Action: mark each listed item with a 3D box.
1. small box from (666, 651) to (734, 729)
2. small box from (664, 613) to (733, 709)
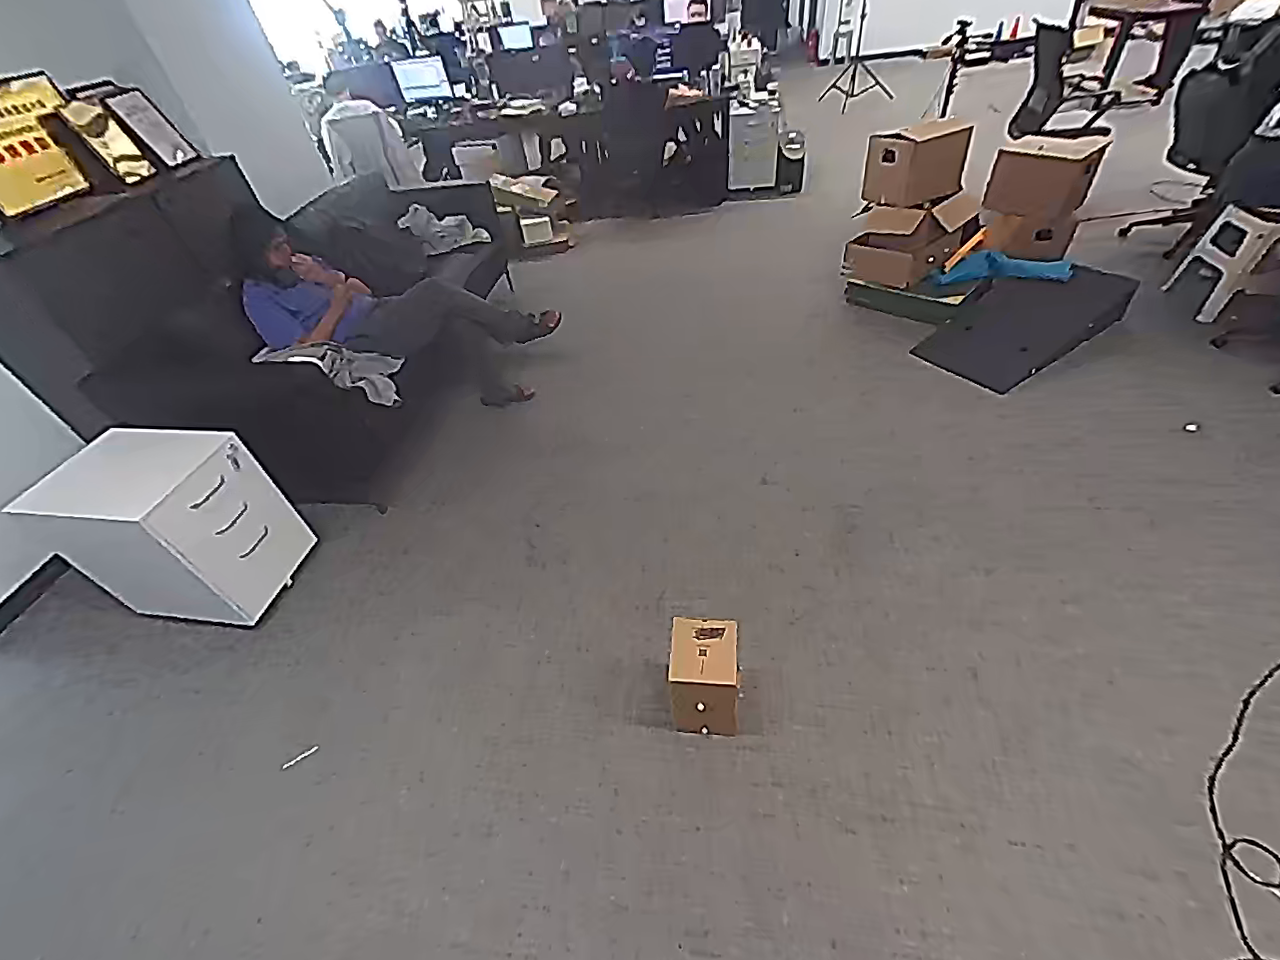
[{"bbox_3d":[0.171,0.585,1.529,0.179,0.176,0.168,2,44,10],"label":"small box"},{"bbox_3d":[0.155,0.472,1.410,0.168,0.176,0.179,1,45,9],"label":"small box"}]
